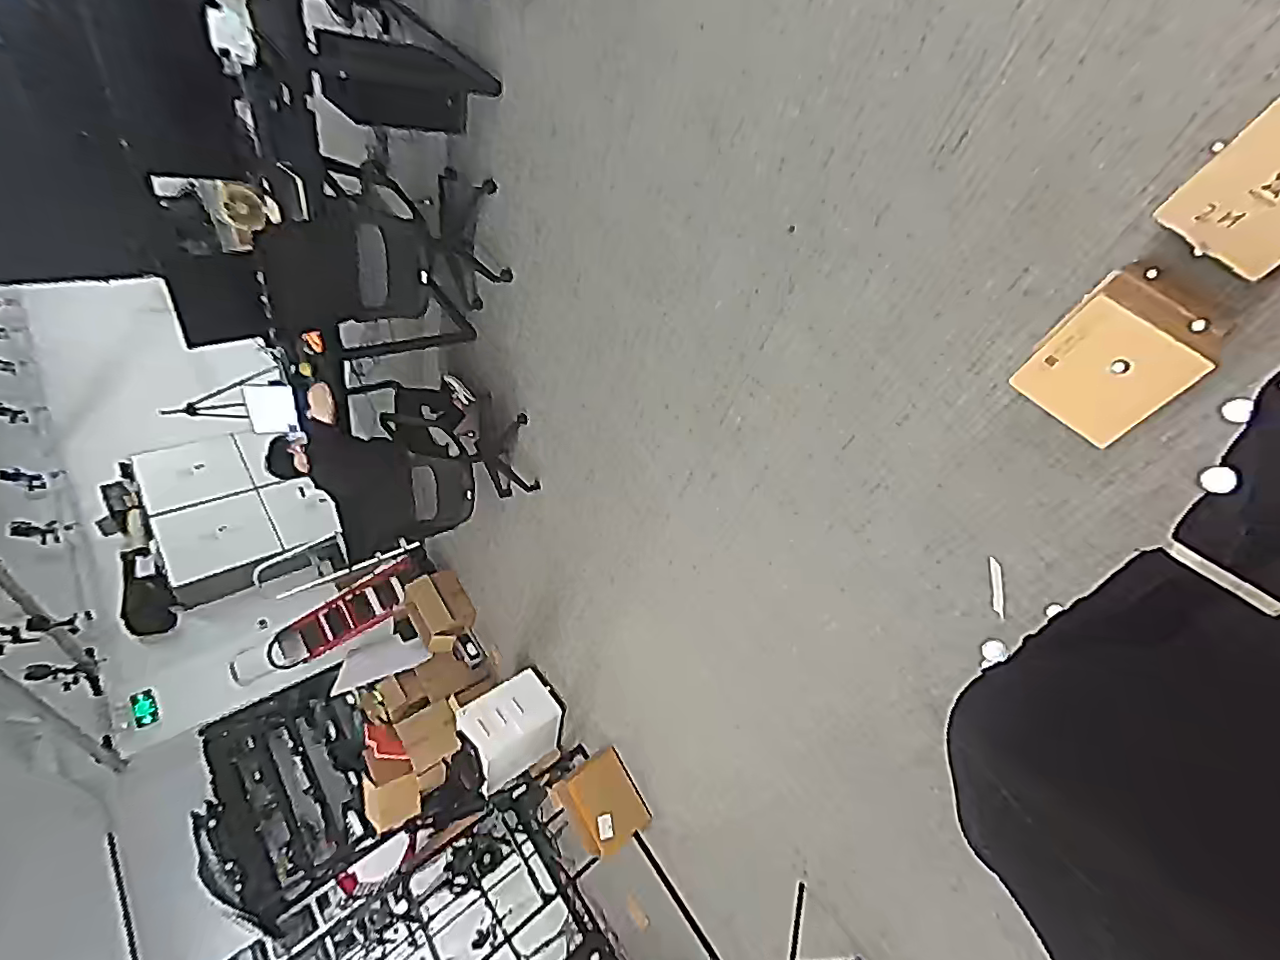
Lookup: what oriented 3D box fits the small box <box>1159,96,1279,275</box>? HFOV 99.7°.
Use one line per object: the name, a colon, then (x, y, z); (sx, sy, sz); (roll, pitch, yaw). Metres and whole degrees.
small box: (0.896, -0.416, 0.754); (0.168, 0.176, 0.179); (53, 142, 20)
